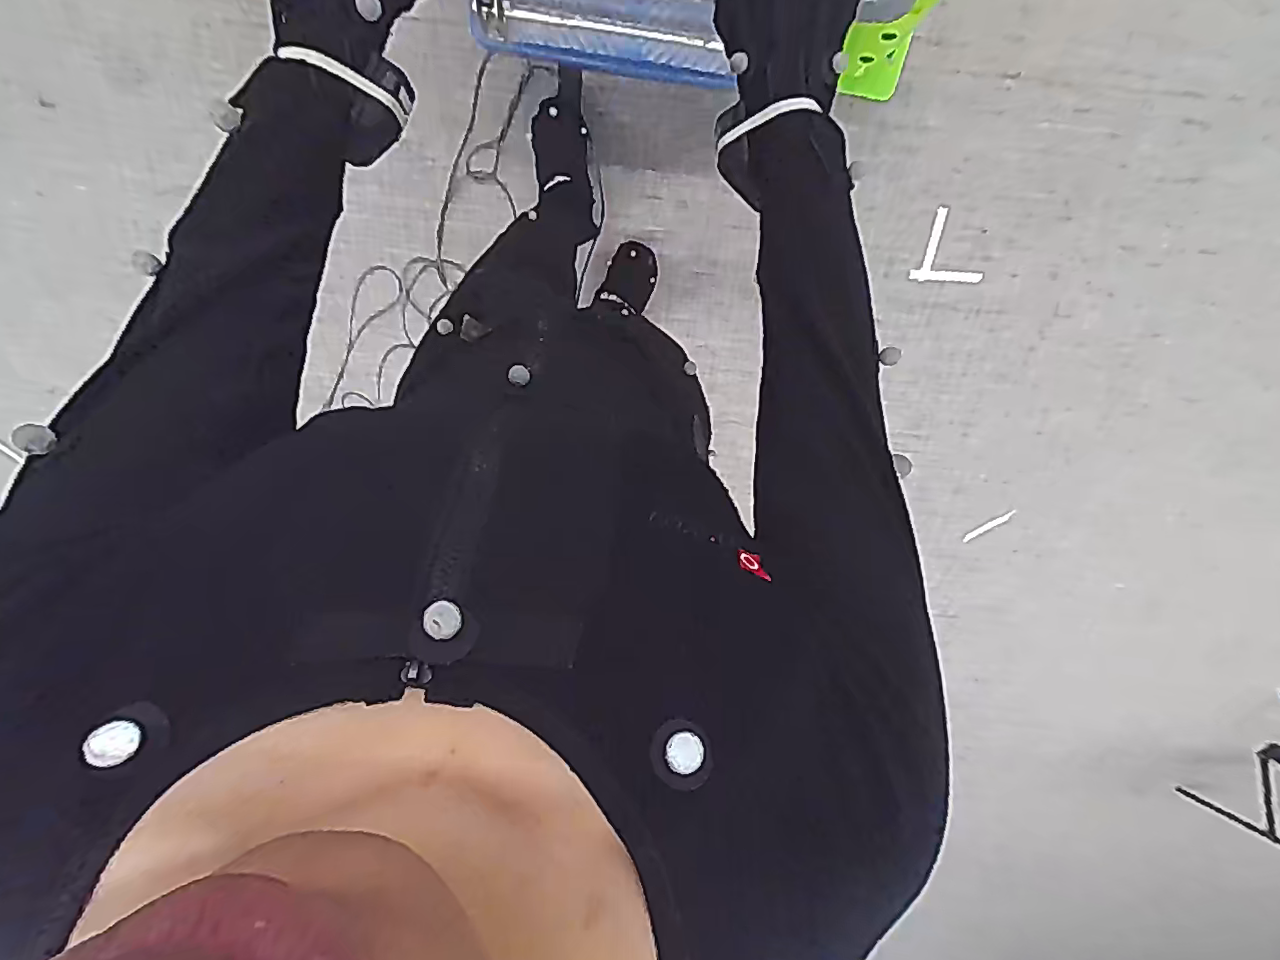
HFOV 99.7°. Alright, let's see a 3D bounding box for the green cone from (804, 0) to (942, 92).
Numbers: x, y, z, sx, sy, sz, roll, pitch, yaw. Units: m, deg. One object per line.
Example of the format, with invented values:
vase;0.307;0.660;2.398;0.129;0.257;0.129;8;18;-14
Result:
green cone;0.440;-0.811;0.912;0.202;0.368;0.200;8;120;-5
